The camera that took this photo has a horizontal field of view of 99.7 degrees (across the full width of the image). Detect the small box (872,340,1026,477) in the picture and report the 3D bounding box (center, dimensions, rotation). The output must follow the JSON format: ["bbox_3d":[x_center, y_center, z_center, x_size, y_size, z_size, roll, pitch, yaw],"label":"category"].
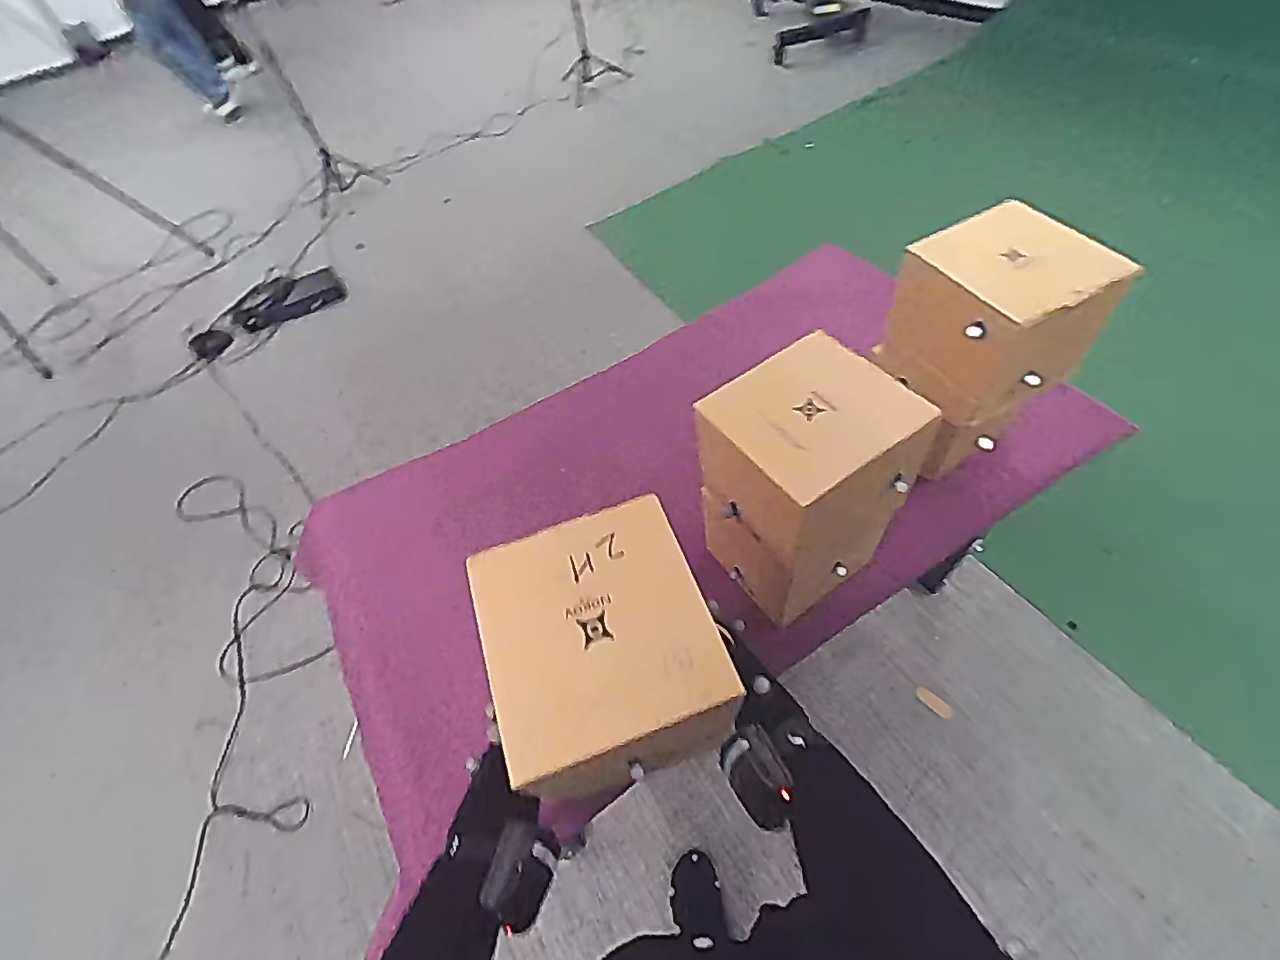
[{"bbox_3d":[0.463,-0.140,0.830,0.179,0.176,0.168,-32,55,-12],"label":"small box"}]

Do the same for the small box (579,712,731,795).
[{"bbox_3d":[-0.011,0.231,0.602,0.179,0.176,0.168,-16,55,-6],"label":"small box"}]

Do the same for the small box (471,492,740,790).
[{"bbox_3d":[-0.026,0.145,0.462,0.168,0.176,0.179,-18,55,-7],"label":"small box"}]

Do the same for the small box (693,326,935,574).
[{"bbox_3d":[0.178,-0.030,0.600,0.179,0.176,0.168,-32,54,-11],"label":"small box"}]

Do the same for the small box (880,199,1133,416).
[{"bbox_3d":[0.436,-0.214,0.685,0.168,0.176,0.179,-26,55,-7],"label":"small box"}]
